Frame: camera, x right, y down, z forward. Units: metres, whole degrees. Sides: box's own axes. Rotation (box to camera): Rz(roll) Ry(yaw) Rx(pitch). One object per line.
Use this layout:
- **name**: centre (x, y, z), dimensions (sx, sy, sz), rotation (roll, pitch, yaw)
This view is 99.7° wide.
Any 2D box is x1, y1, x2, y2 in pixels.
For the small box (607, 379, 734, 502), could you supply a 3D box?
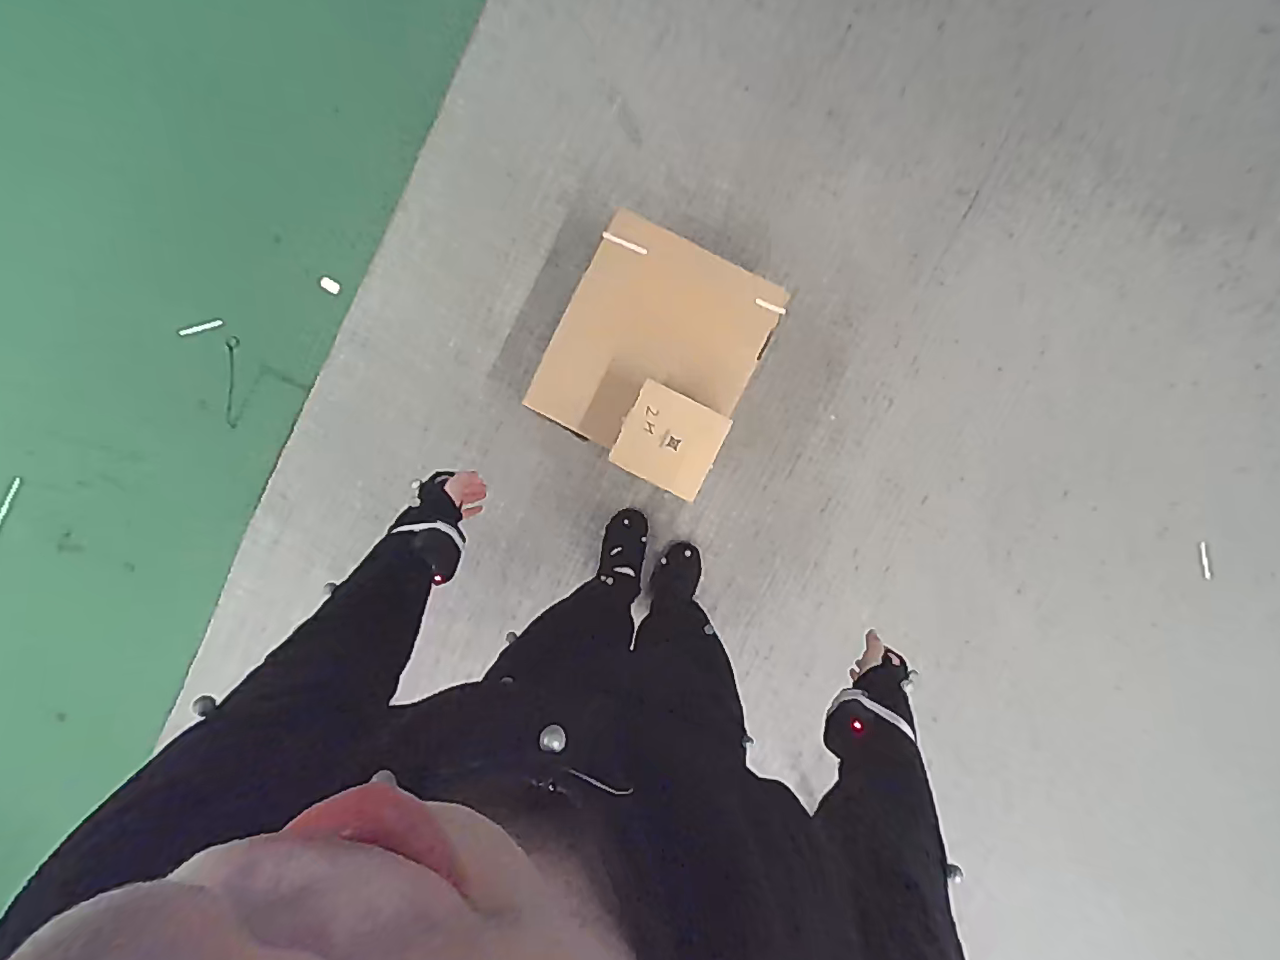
- **small box**: centre (0.056, -0.076, 1.041), dimensions (0.179, 0.176, 0.168), rotation (28, 93, 0)
